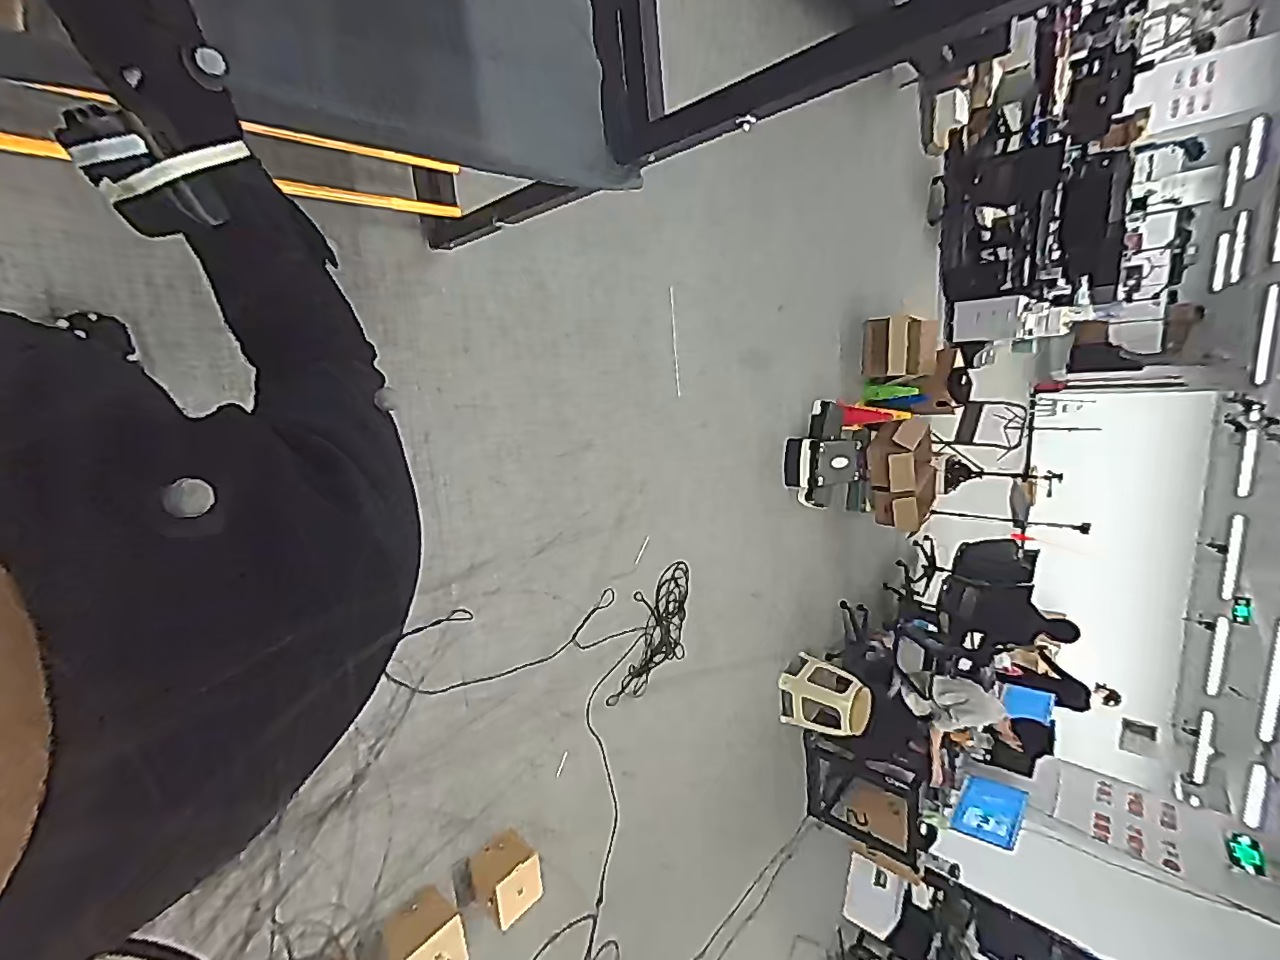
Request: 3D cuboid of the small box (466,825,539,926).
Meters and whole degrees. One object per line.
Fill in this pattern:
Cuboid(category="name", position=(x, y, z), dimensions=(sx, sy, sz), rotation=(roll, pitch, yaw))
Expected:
Cuboid(category="small box", position=(-0.462, 1.313, 1.810), dimensions=(0.168, 0.176, 0.179), rotation=(-17, 106, -46))
